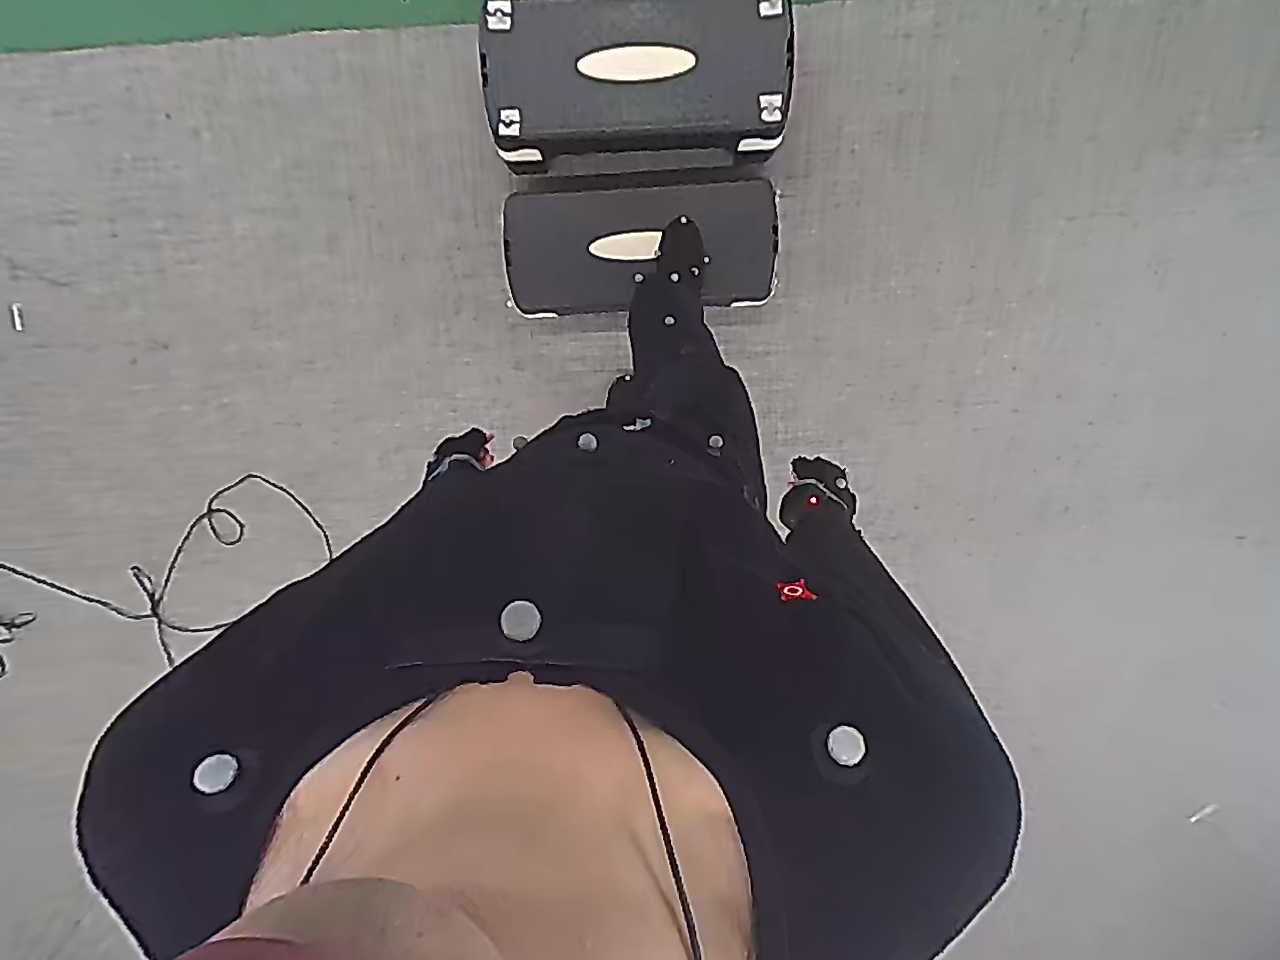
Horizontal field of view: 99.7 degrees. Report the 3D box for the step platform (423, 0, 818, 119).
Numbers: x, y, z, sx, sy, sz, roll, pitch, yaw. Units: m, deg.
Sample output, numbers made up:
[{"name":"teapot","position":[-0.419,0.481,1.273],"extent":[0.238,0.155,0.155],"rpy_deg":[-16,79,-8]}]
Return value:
[{"name":"step platform","position":[-0.034,-0.875,1.006],"extent":[0.684,0.204,0.286],"rpy_deg":[-2,103,2]}]
